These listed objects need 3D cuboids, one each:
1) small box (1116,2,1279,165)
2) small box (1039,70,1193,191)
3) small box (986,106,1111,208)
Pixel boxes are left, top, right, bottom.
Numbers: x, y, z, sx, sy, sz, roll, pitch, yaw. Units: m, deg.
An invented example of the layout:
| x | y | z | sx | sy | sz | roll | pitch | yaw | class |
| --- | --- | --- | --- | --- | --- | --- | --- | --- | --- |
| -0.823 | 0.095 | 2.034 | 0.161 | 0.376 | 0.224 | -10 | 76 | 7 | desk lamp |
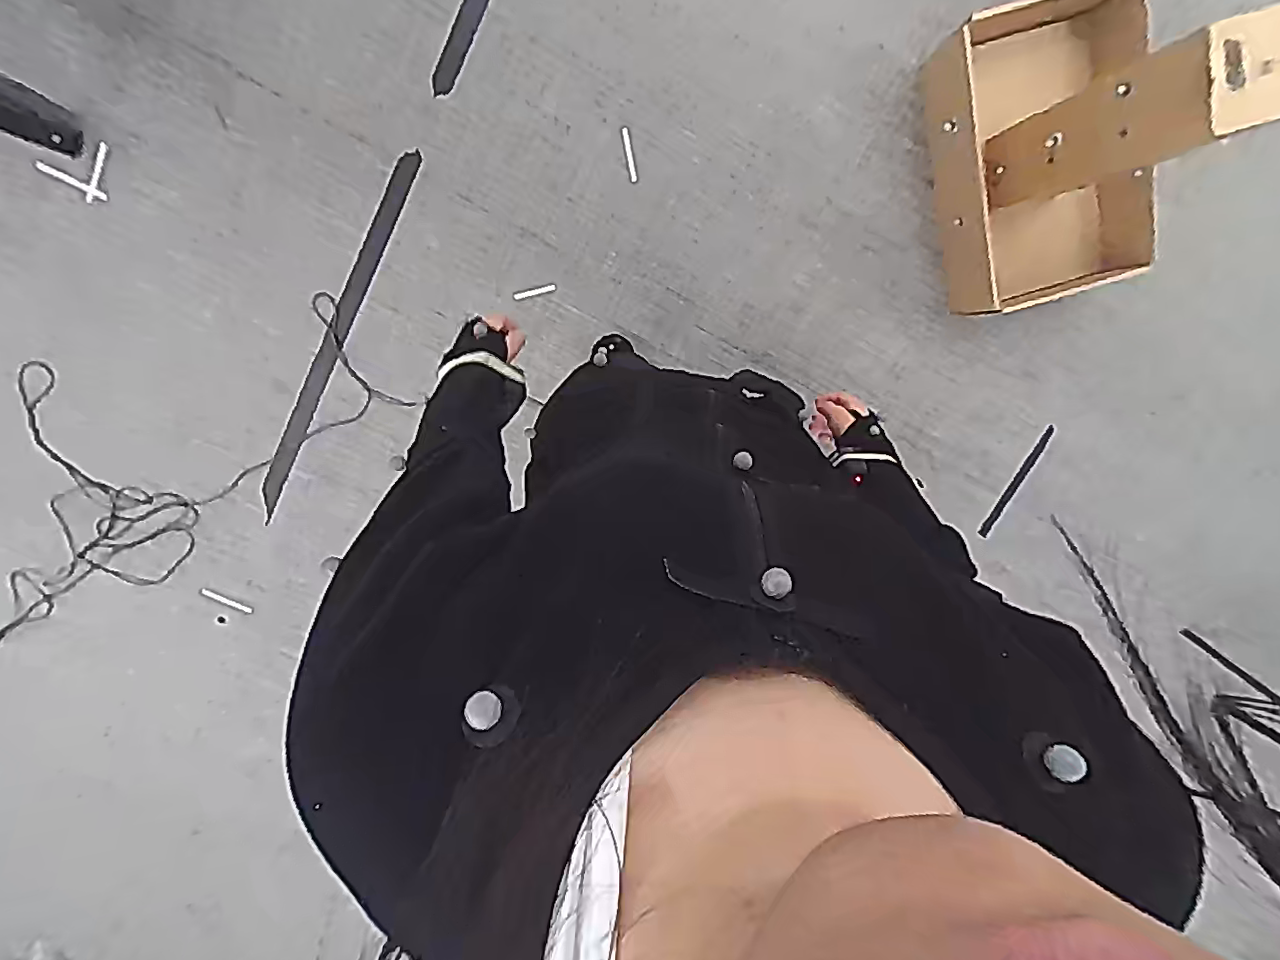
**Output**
| x | y | z | sx | sy | sz | roll | pitch | yaw | class |
| --- | --- | --- | --- | --- | --- | --- | --- | --- | --- |
| 0.970 | -0.672 | 0.931 | 0.179 | 0.176 | 0.168 | -16 | 104 | -2 | small box |
| 0.954 | -0.709 | 1.091 | 0.179 | 0.176 | 0.168 | -14 | 104 | 0 | small box |
| 0.941 | -0.749 | 1.247 | 0.179 | 0.176 | 0.168 | -13 | 104 | -1 | small box |
